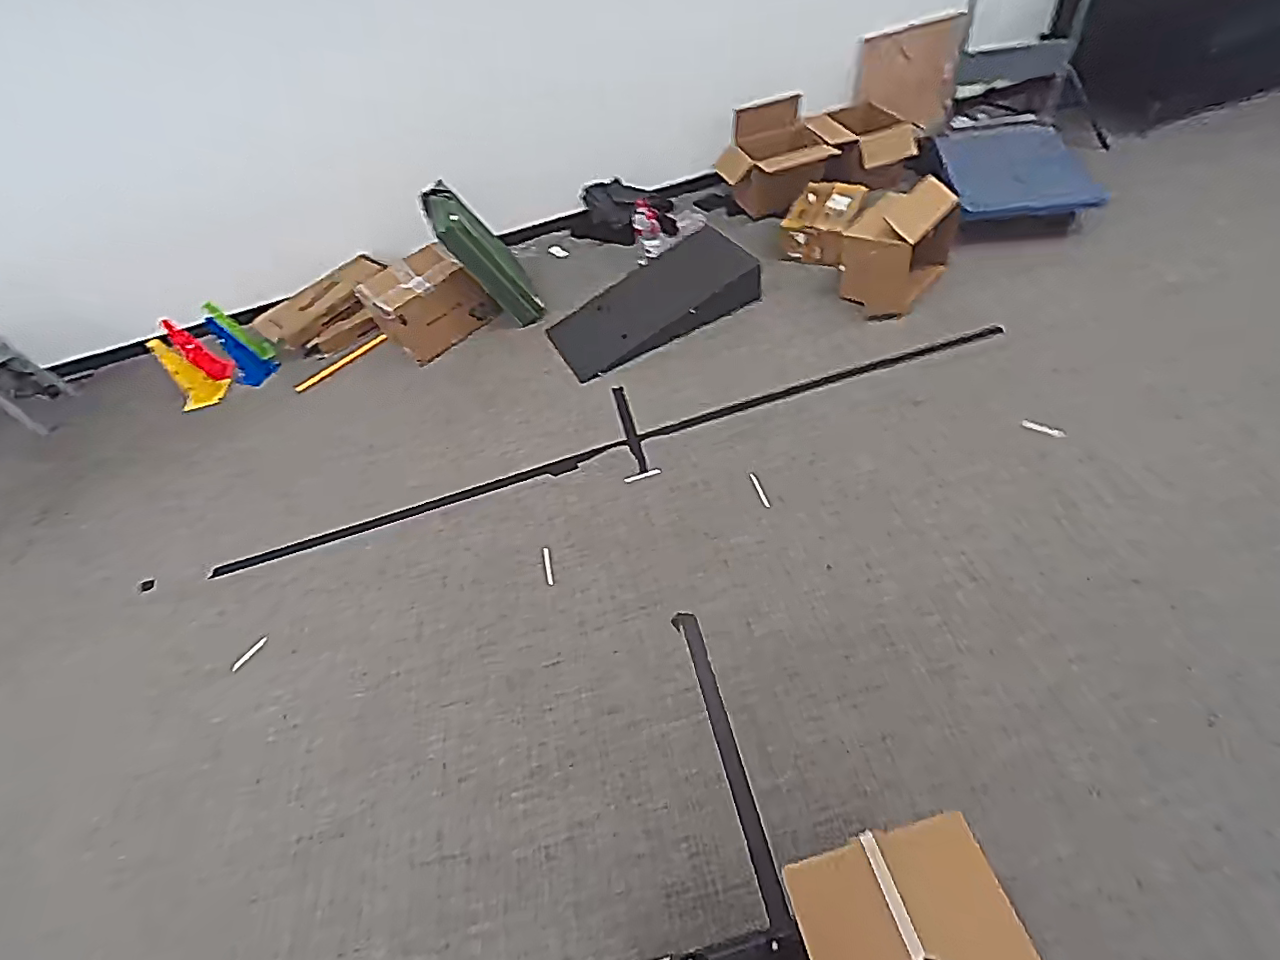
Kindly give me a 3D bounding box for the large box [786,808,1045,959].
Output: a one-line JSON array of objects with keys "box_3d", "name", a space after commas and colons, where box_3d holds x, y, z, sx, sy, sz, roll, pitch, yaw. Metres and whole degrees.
[{"box_3d": [0.473, 0.822, 0.893, 0.320, 0.320, 0.408, -22, 52, 4], "name": "large box"}]
